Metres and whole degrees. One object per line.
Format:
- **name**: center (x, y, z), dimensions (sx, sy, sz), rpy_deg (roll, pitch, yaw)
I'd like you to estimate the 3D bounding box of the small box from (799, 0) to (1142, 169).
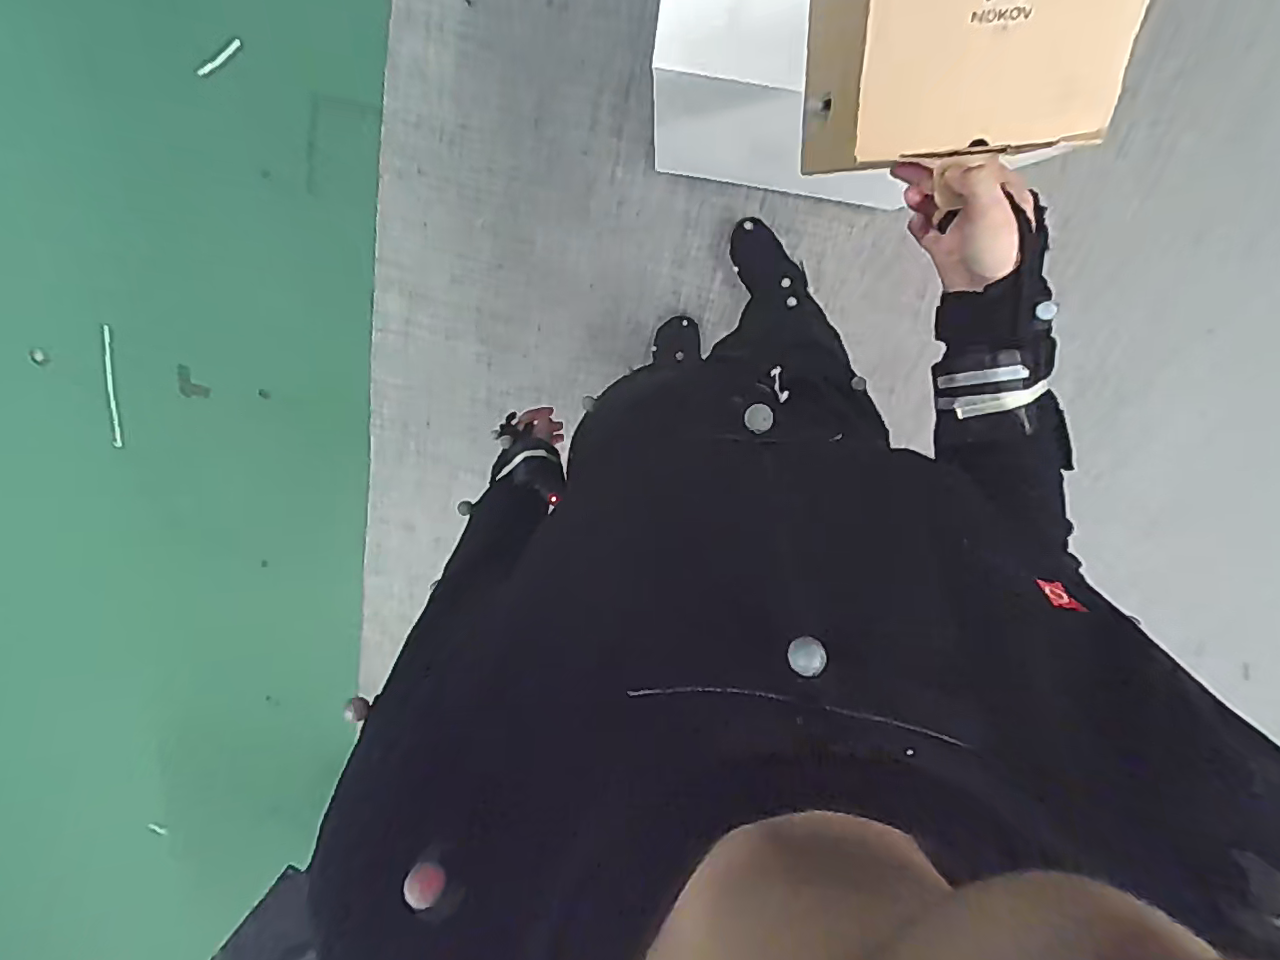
- **small box**: center (0.220, -0.332, 0.393), dimensions (0.168, 0.176, 0.179), rpy_deg (-4, 117, 2)
